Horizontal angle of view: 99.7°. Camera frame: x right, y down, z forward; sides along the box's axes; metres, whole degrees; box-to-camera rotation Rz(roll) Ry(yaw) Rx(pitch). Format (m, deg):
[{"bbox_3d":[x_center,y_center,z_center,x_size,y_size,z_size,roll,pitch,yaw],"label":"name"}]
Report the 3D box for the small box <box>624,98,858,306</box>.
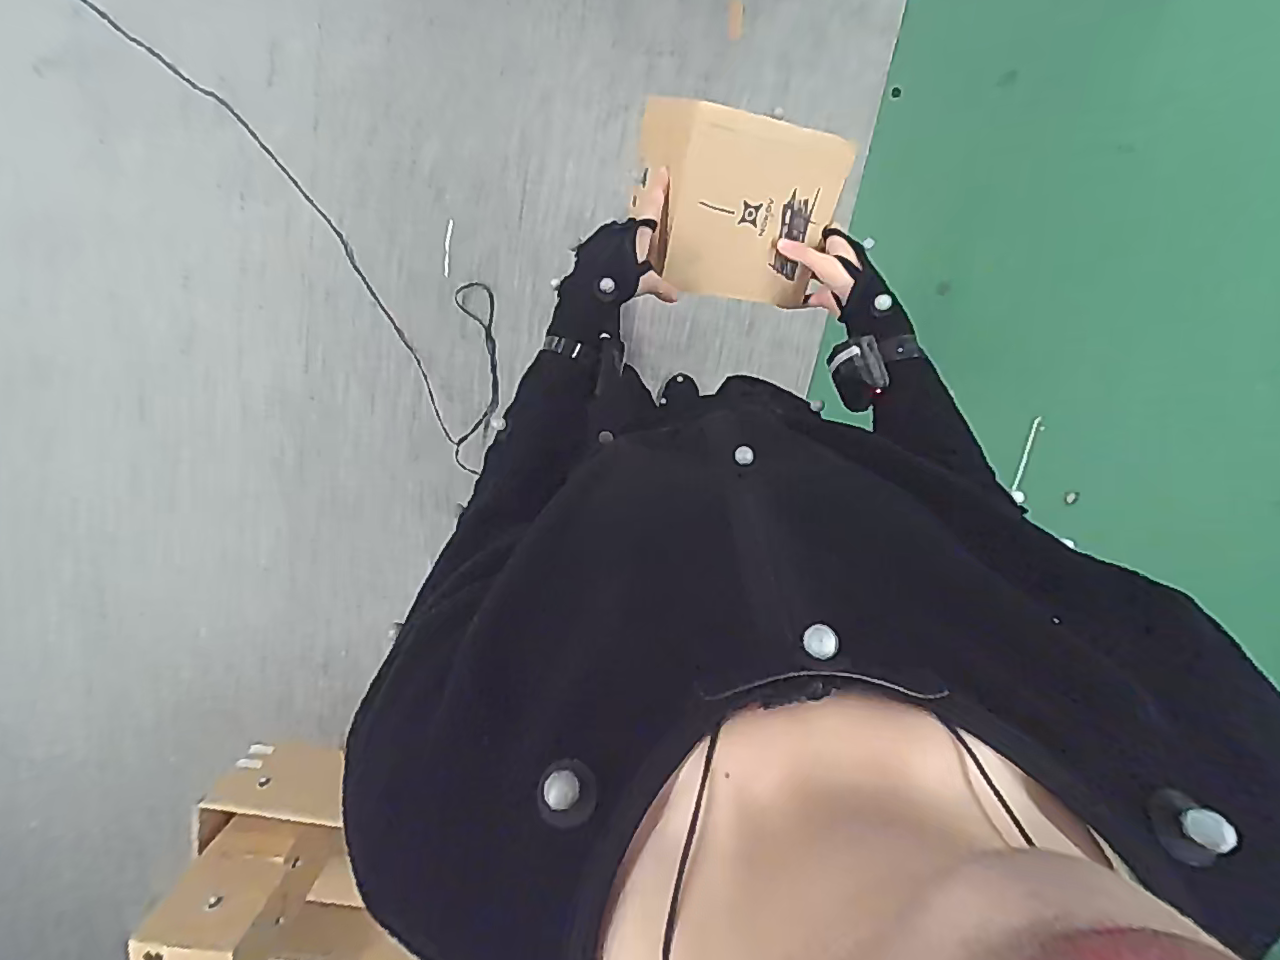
[{"bbox_3d":[0.096,-0.312,0.604,0.179,0.176,0.168,2,124,-18],"label":"small box"}]
